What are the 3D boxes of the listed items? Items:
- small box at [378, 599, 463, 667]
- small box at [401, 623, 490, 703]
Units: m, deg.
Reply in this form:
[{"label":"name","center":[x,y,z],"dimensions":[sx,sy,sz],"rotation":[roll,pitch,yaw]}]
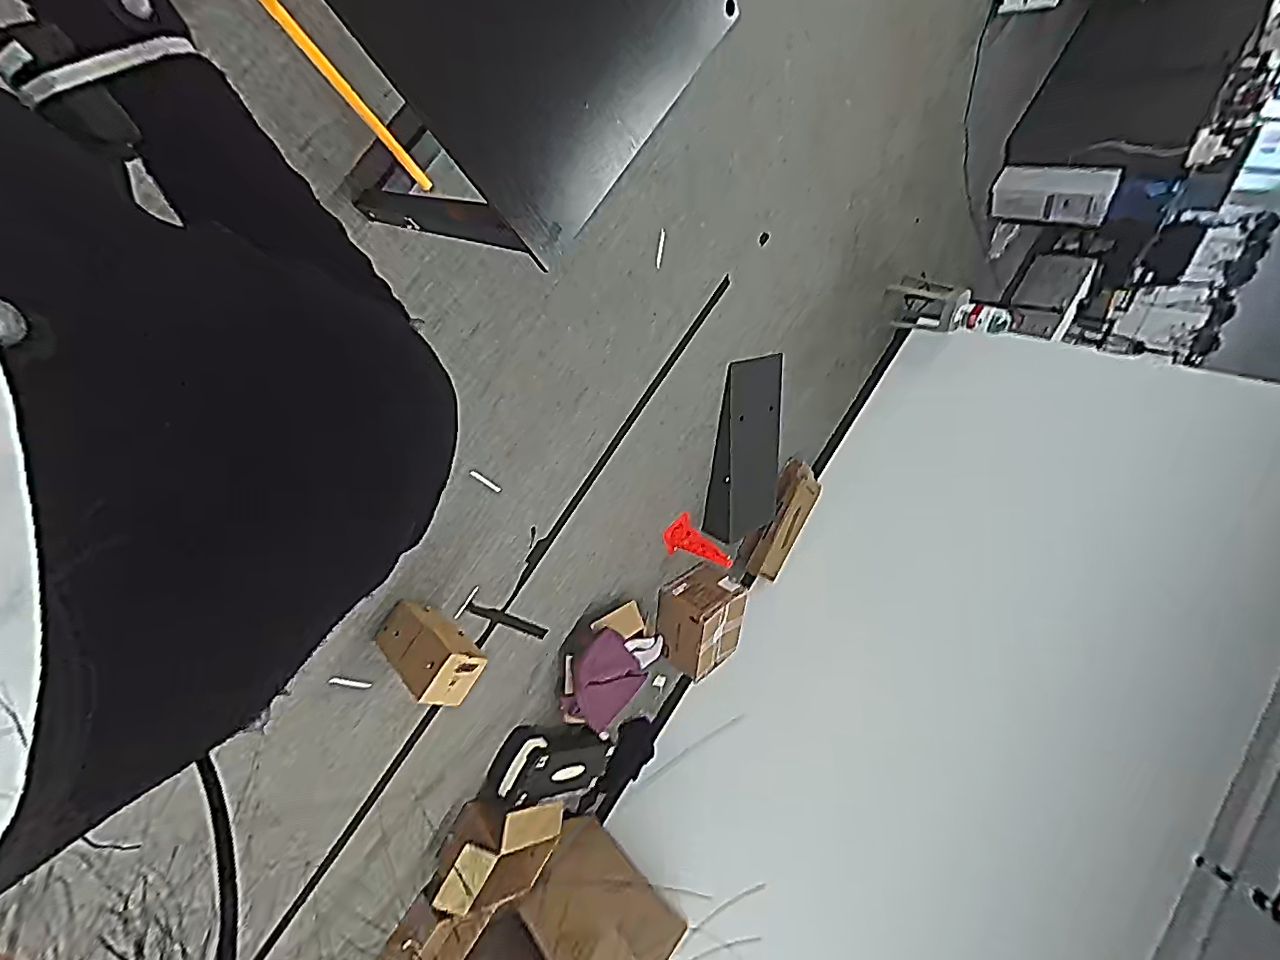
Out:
[{"label":"small box","center":[-0.743,0.524,1.824],"dimensions":[0.168,0.176,0.179],"rotation":[-57,142,-6]},{"label":"small box","center":[-0.624,0.580,1.722],"dimensions":[0.179,0.176,0.168],"rotation":[-56,143,-5]}]
